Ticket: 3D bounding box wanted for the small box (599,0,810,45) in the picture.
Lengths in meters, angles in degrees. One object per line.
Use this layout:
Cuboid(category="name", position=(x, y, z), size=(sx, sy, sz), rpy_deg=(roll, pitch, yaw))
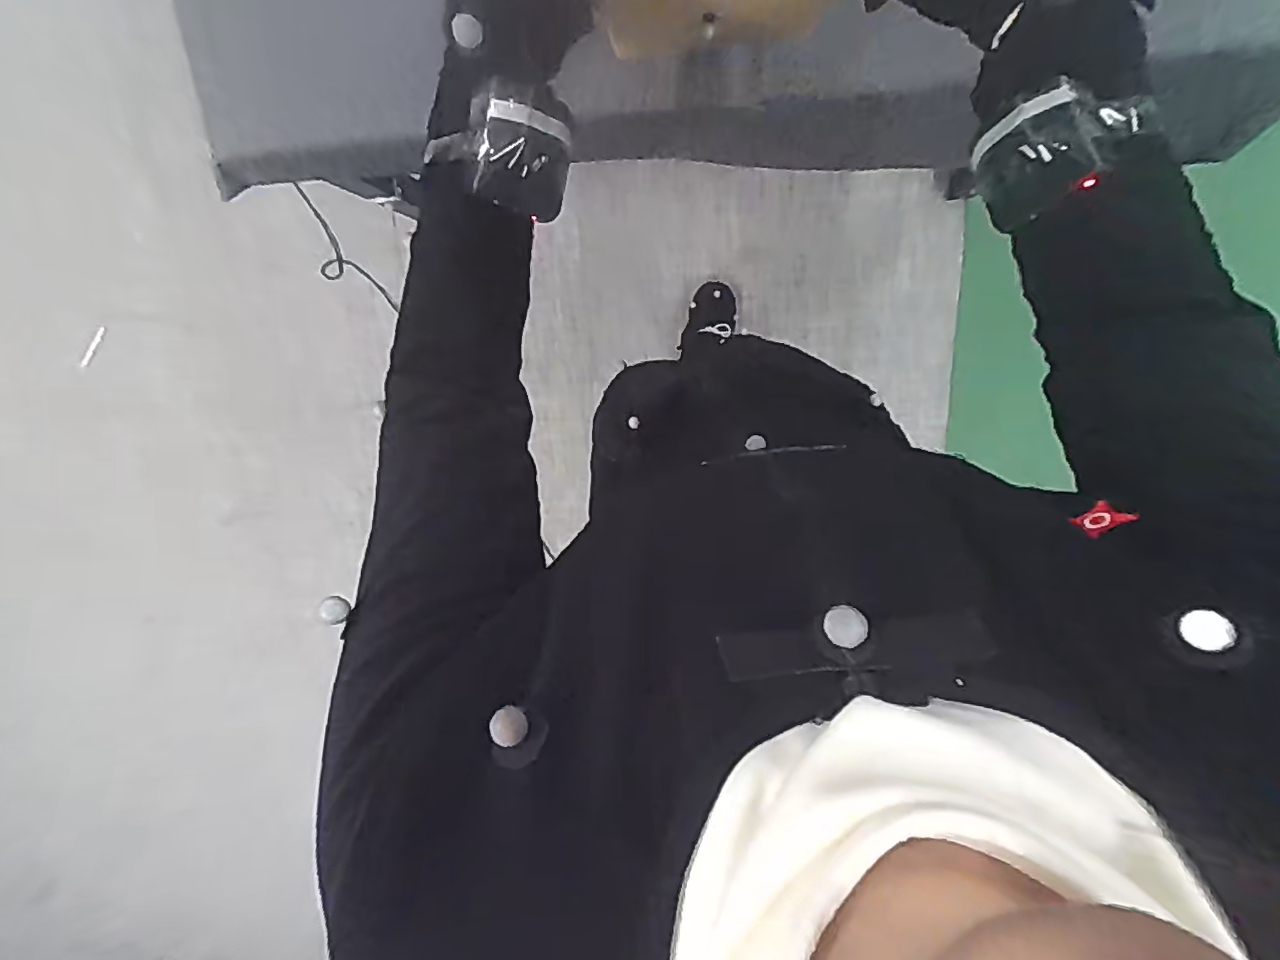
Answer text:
Cuboid(category="small box", position=(0.052, -0.447, 0.393), size=(0.179, 0.176, 0.168), rpy_deg=(-2, 116, 7))
